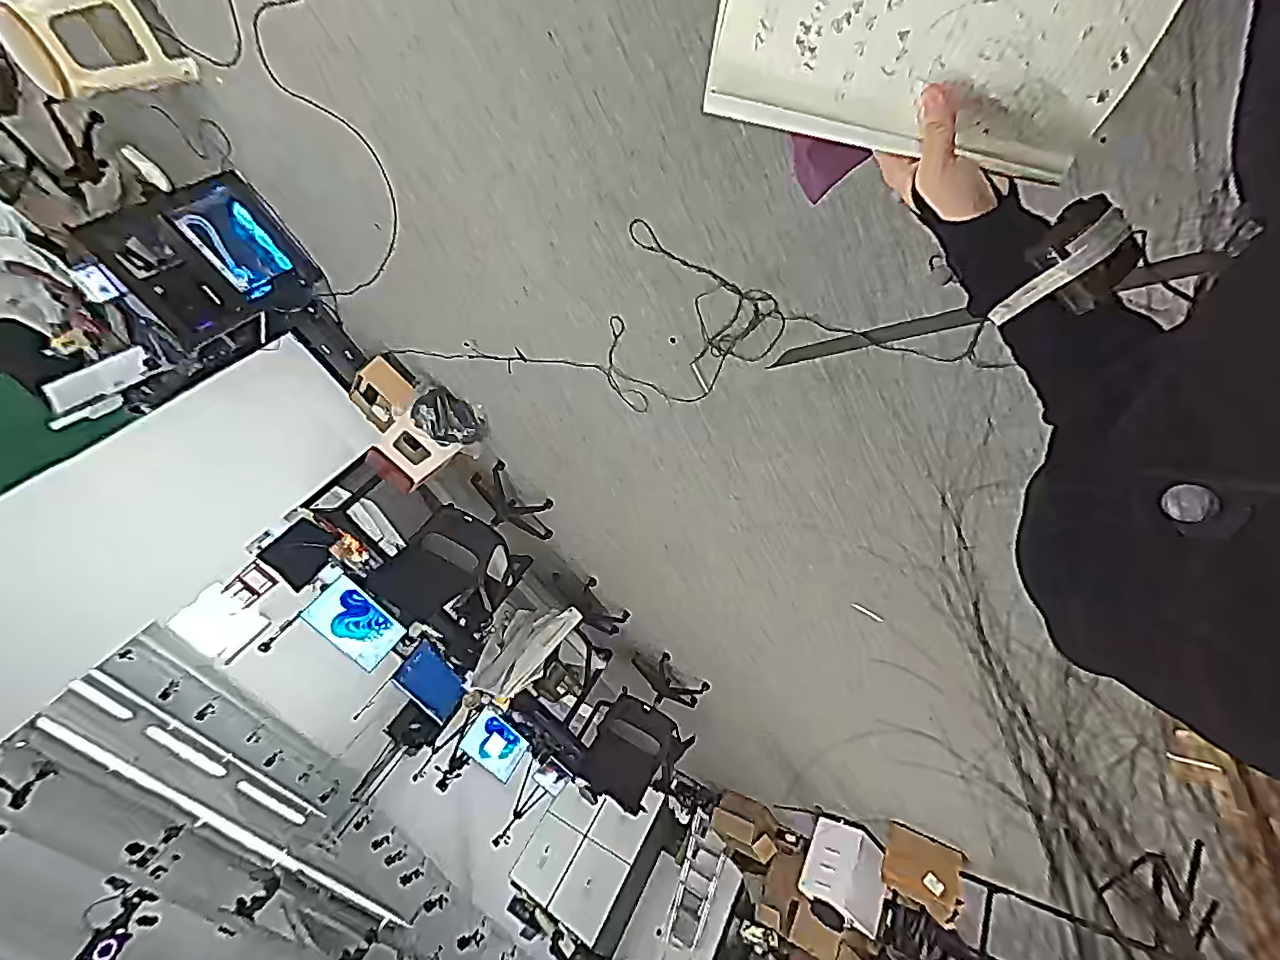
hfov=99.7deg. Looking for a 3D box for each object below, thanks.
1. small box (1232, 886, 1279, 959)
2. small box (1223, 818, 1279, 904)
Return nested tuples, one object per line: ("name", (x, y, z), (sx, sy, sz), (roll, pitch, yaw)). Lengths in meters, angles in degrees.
("small box", (1.515, 1.098, 1.259), (0.168, 0.176, 0.179), (1, 134, 41))
("small box", (1.589, 0.978, 1.344), (0.179, 0.176, 0.168), (-2, 132, 42))
